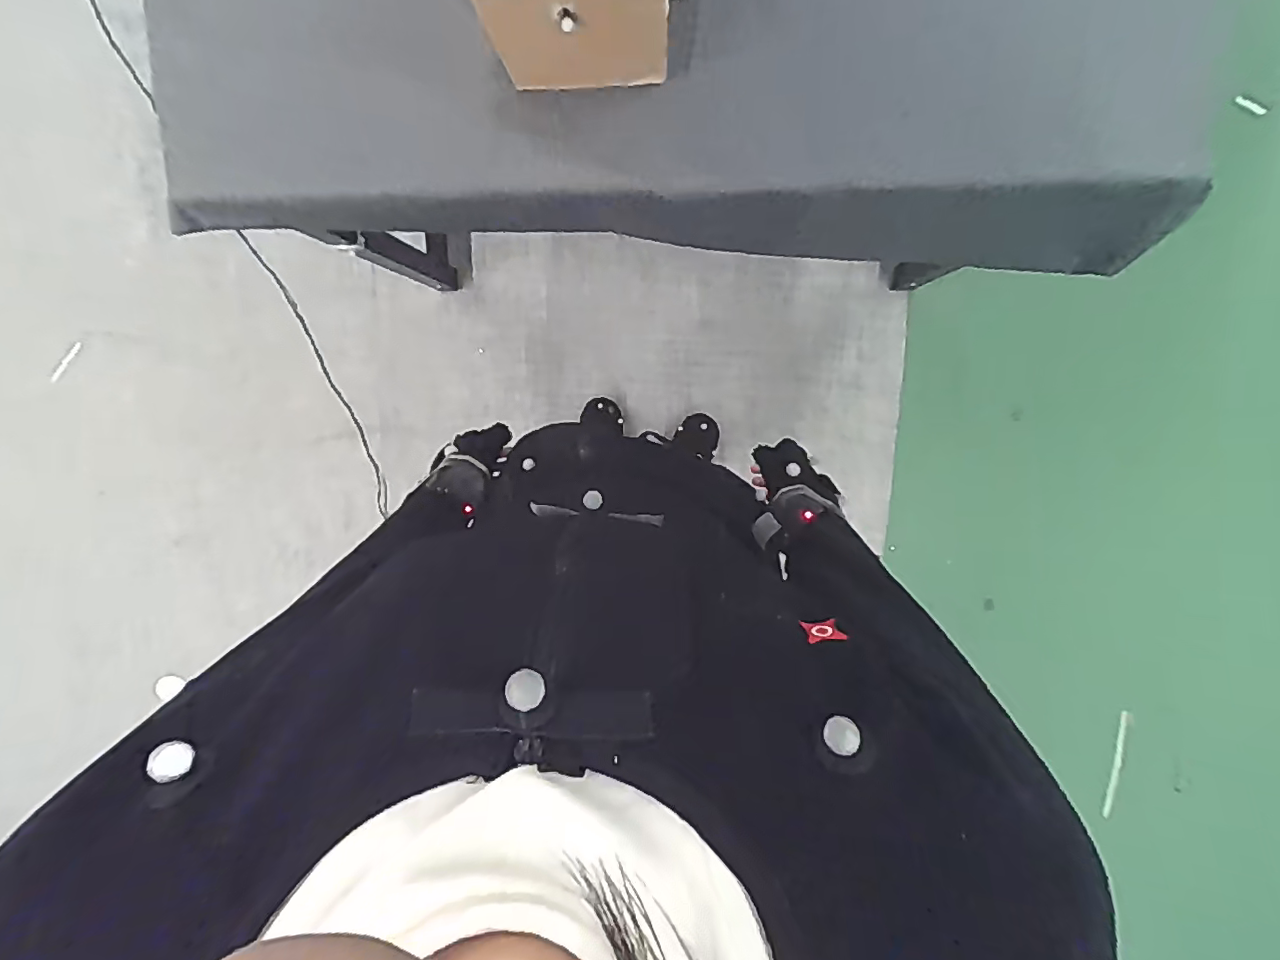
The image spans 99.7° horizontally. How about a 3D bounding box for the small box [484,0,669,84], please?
[{"bbox_3d":[-0.061,-0.517,0.524,0.179,0.176,0.168,0,100,3],"label":"small box"}]
